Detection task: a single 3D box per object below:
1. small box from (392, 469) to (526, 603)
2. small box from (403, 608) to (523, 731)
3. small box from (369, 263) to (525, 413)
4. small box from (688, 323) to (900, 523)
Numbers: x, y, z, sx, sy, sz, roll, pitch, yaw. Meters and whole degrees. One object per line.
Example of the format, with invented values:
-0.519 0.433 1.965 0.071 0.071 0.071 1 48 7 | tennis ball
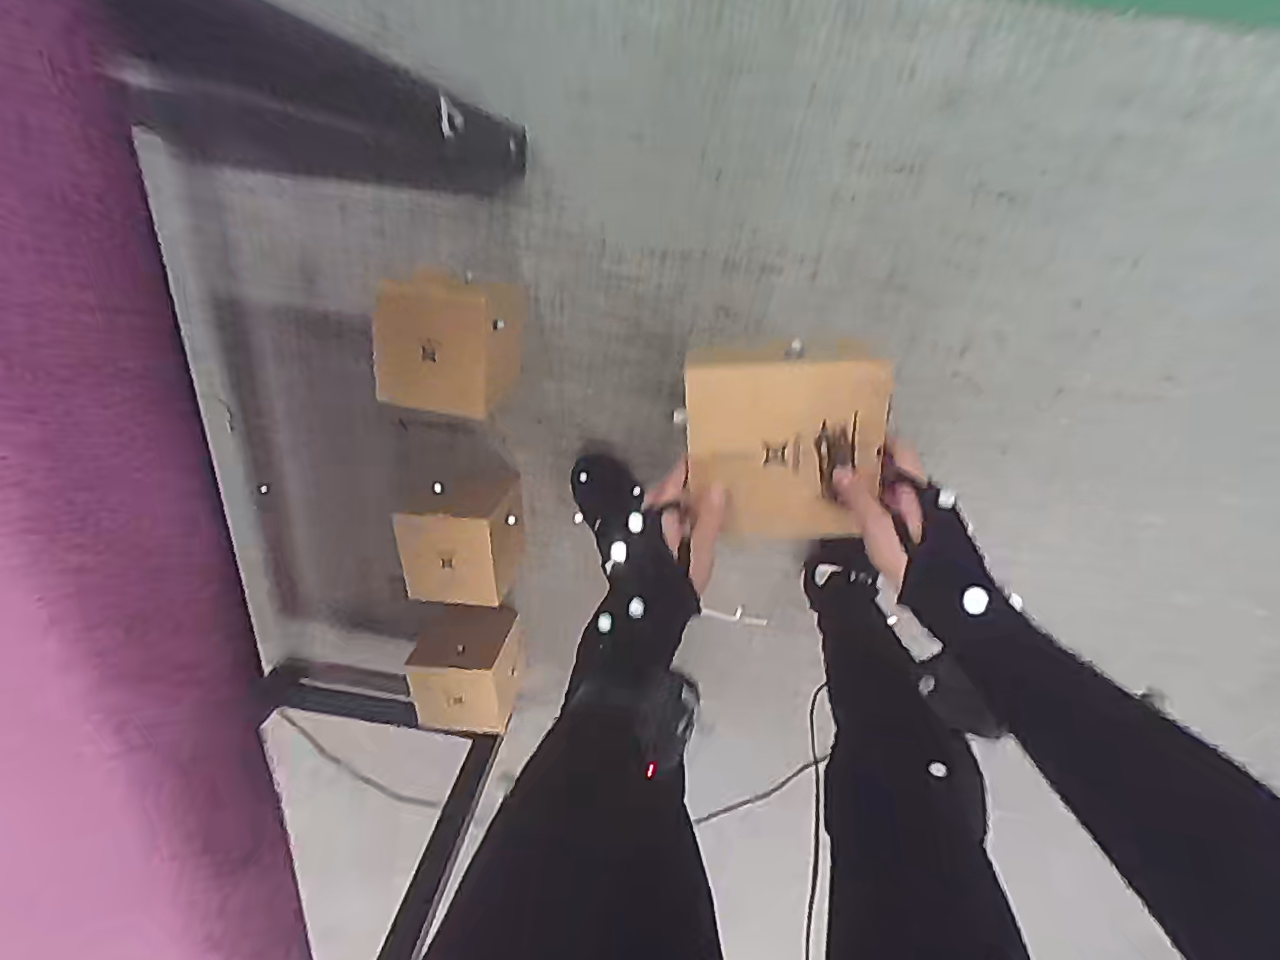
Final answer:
-0.310 0.092 0.961 0.168 0.176 0.179 4 116 6 | small box
-0.344 0.378 1.095 0.179 0.176 0.168 2 115 6 | small box
-0.280 -0.220 0.814 0.168 0.176 0.179 10 114 2 | small box
0.139 -0.067 0.556 0.179 0.176 0.168 0 112 7 | small box
